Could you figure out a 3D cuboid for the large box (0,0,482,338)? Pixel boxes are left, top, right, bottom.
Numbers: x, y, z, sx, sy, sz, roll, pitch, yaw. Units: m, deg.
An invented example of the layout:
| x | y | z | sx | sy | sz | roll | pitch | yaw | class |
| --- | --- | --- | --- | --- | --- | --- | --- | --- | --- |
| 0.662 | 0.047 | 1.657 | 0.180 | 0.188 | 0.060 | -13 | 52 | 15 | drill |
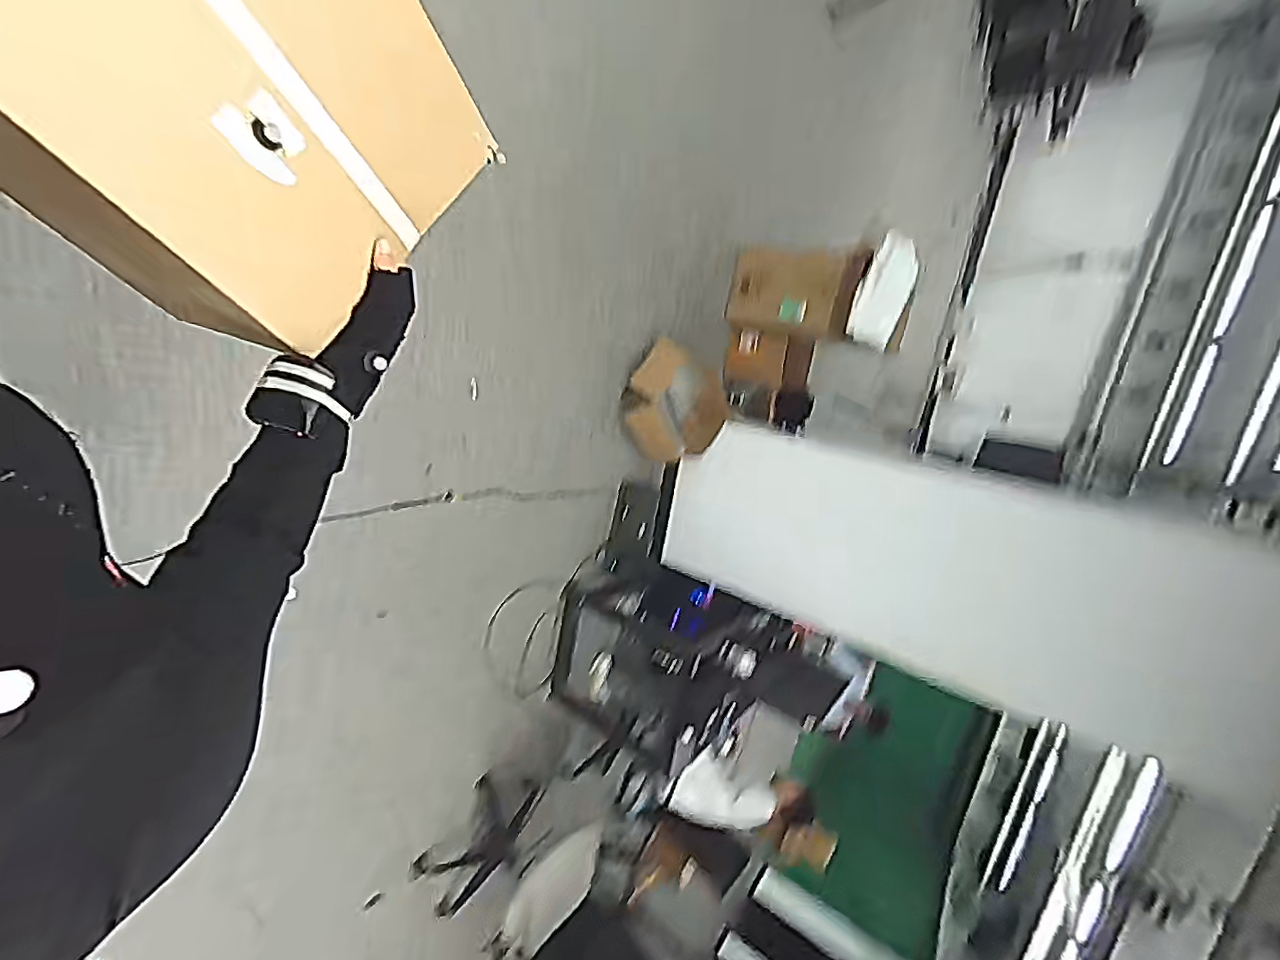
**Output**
| x | y | z | sx | sy | sz | roll | pitch | yaw | class |
| --- | --- | --- | --- | --- | --- | --- | --- | --- | --- |
| -0.428 | -0.387 | 0.453 | 0.320 | 0.320 | 0.408 | -60 | 149 | -17 | large box |
